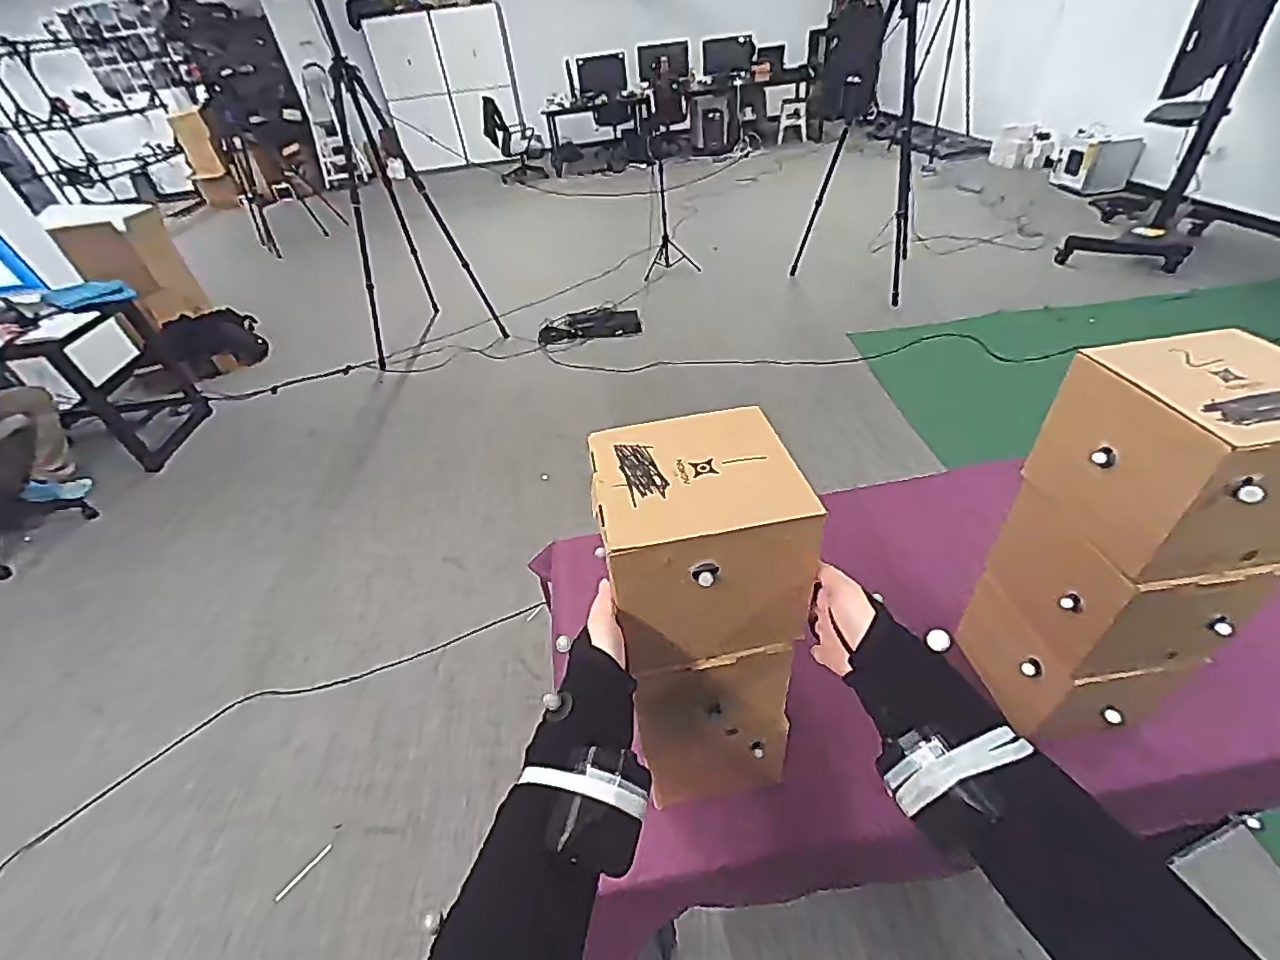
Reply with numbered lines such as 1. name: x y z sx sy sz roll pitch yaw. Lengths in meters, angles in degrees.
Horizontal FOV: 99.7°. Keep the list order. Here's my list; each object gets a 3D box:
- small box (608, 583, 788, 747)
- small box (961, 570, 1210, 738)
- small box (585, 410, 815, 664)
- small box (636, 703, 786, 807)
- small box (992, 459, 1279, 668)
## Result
1. small box: 0.060 0.186 0.629 0.168 0.176 0.179 -11 40 -4
2. small box: 0.579 0.229 0.736 0.168 0.176 0.179 -9 39 -1
3. small box: 0.051 0.056 0.528 0.179 0.176 0.168 -10 39 -4
4. small box: 0.083 0.313 0.731 0.179 0.176 0.168 -11 39 -3
5. small box: 0.560 0.102 0.635 0.168 0.176 0.179 -8 39 1
